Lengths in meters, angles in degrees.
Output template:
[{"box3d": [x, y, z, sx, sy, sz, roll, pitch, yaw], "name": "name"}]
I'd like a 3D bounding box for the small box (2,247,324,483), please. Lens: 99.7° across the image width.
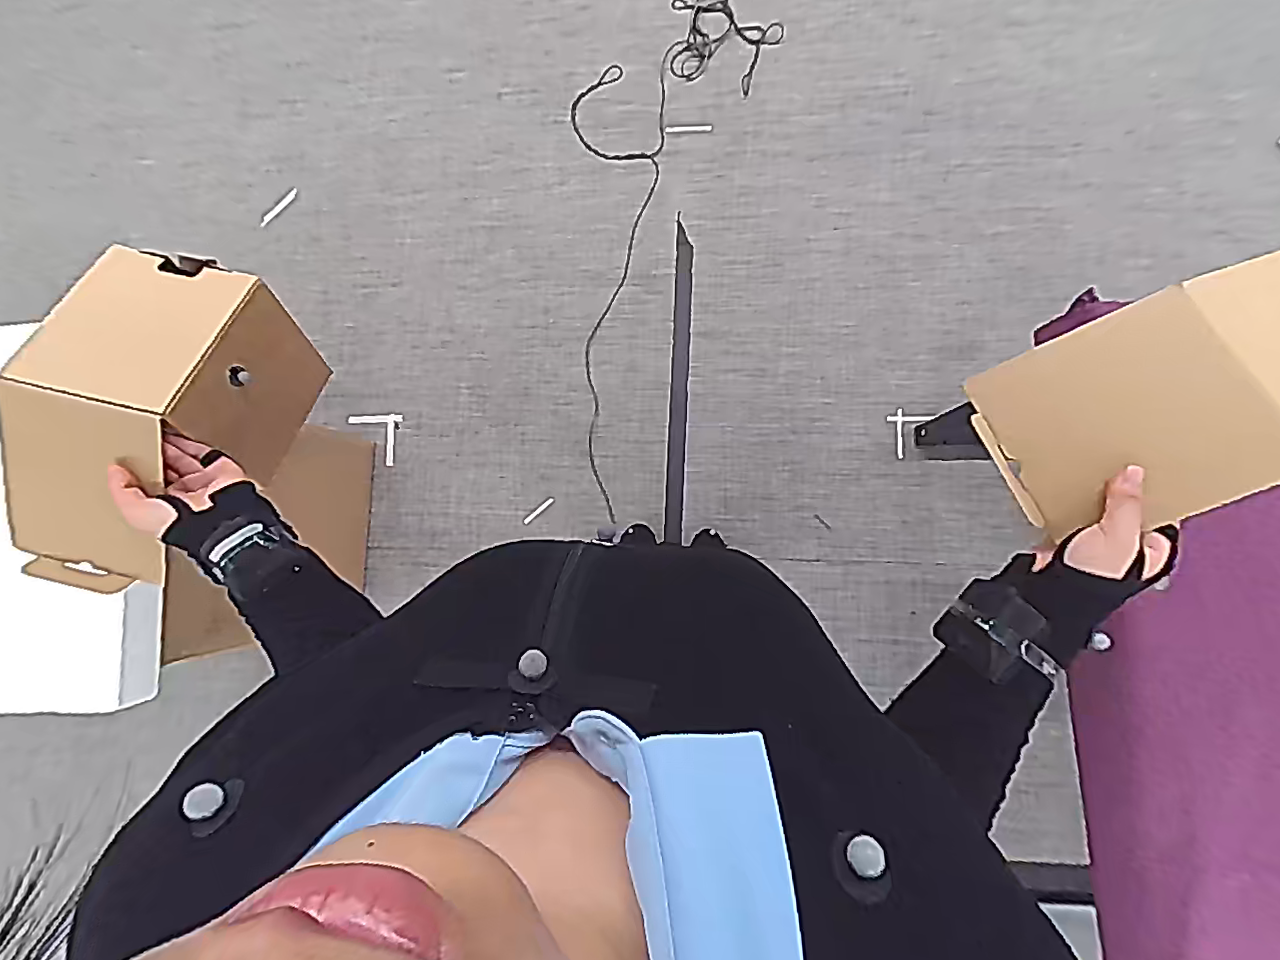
[{"box3d": [-0.492, -0.116, 0.597, 0.168, 0.176, 0.179, 13, 64, 2], "name": "small box"}]
